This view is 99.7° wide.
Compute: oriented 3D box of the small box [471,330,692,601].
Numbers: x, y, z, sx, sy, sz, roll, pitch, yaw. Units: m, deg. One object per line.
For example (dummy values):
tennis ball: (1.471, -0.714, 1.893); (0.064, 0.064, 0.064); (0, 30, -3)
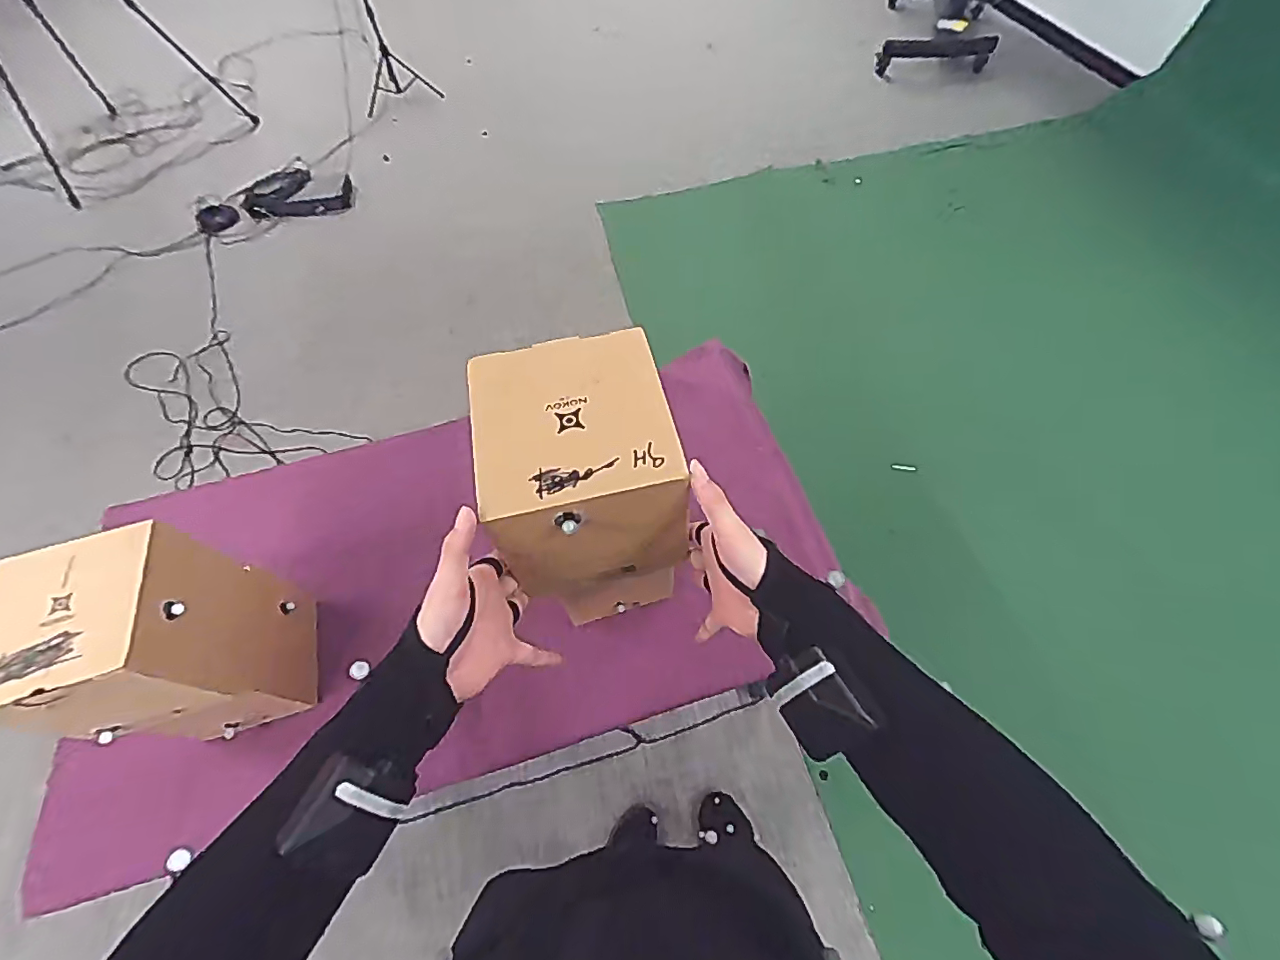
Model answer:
small box: (-0.053, -0.009, 0.512); (0.168, 0.176, 0.179); (-12, 57, -4)

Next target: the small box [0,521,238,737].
small box: (-0.598, 0.177, 0.613); (0.168, 0.176, 0.179); (-16, 59, -7)

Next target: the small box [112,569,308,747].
small box: (-0.594, 0.253, 0.758); (0.168, 0.176, 0.179); (-16, 60, -7)
